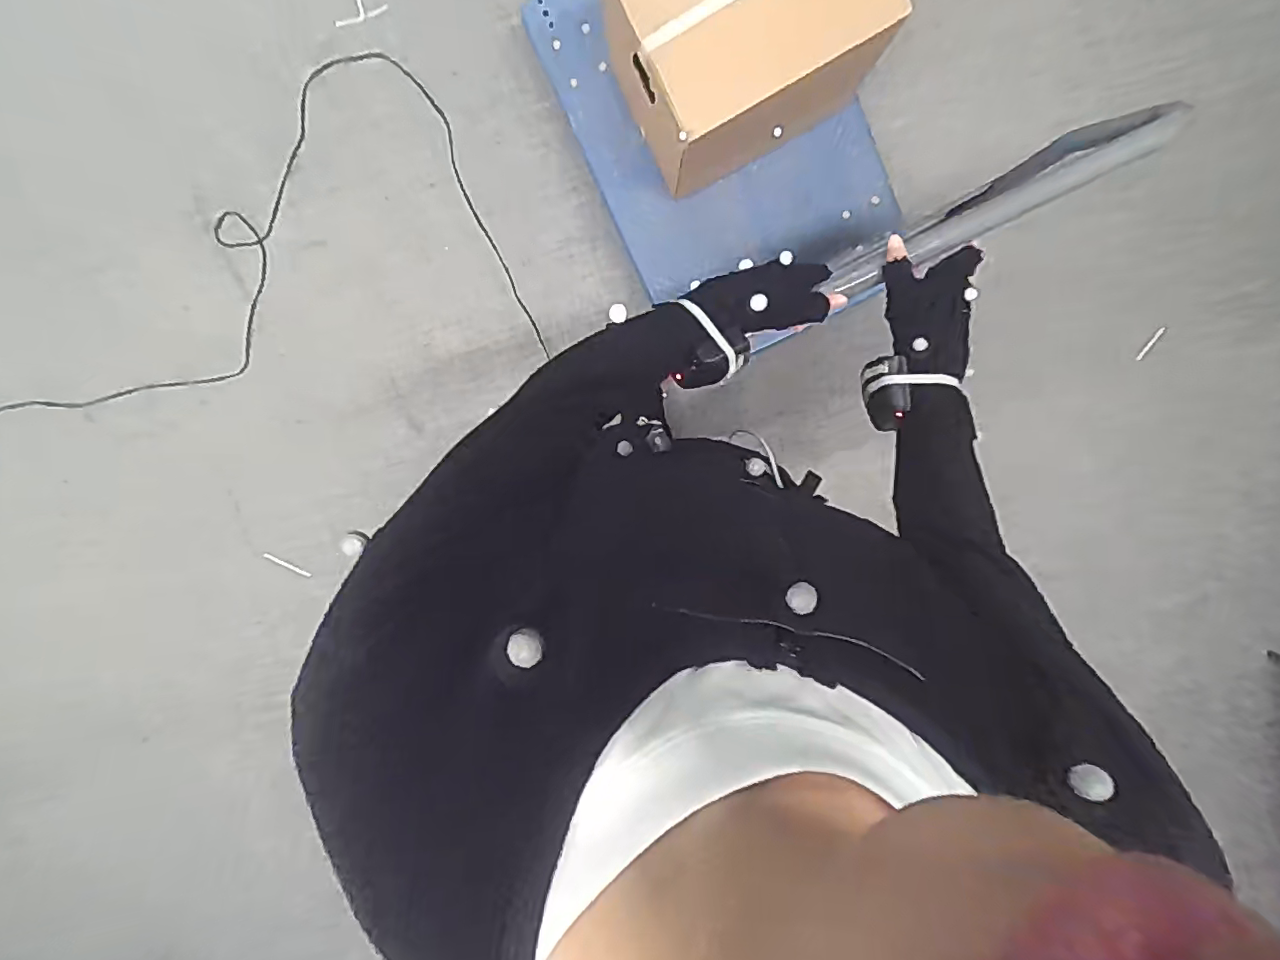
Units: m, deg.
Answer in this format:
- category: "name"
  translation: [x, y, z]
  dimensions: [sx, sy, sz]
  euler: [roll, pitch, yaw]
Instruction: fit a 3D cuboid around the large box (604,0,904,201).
- category: "large box"
  translation: [0.184, -0.805, 1.004]
  dimensions: [0.408, 0.320, 0.320]
  euler: [-27, 98, 6]
